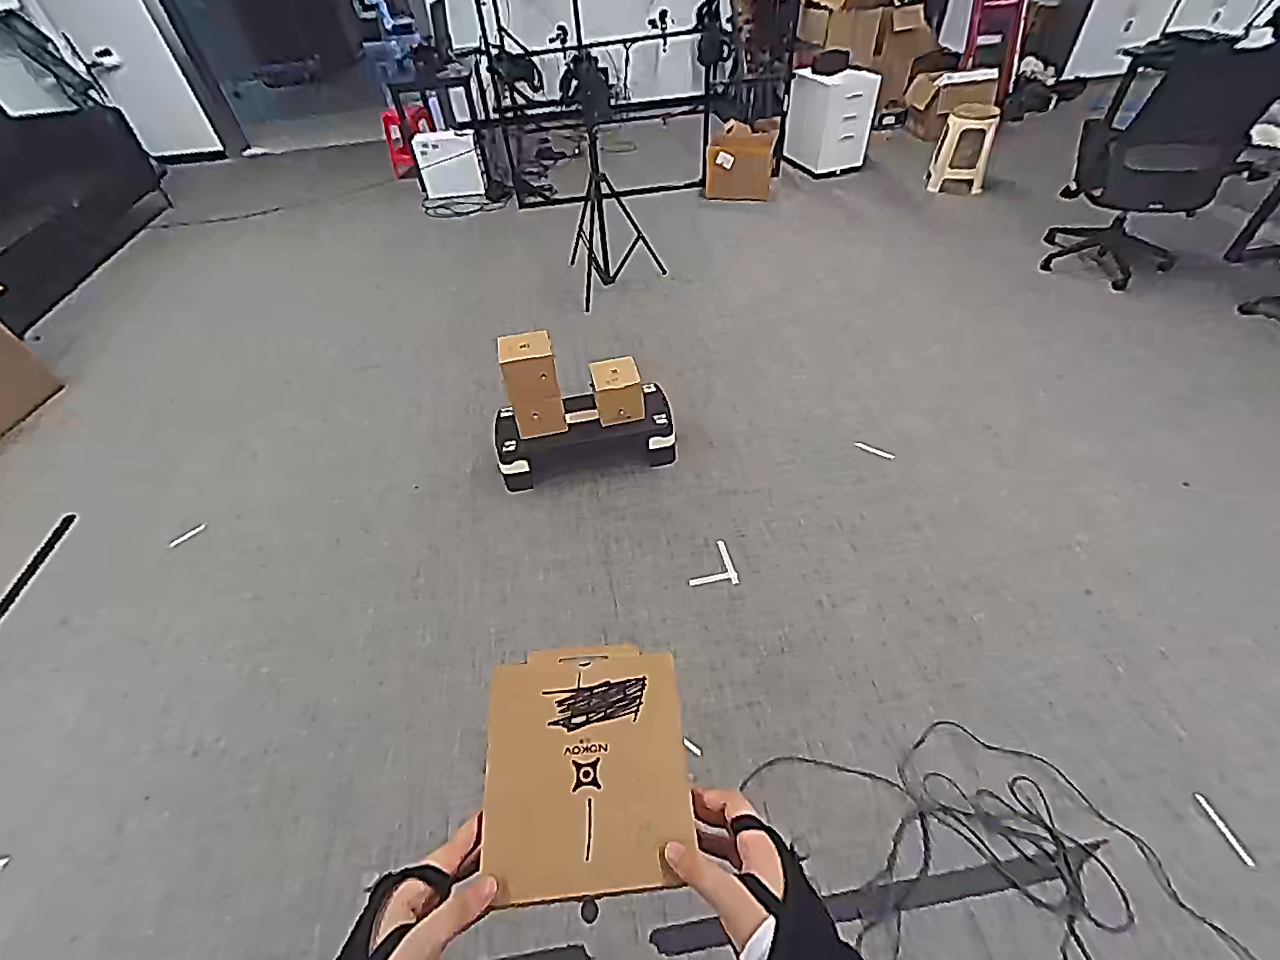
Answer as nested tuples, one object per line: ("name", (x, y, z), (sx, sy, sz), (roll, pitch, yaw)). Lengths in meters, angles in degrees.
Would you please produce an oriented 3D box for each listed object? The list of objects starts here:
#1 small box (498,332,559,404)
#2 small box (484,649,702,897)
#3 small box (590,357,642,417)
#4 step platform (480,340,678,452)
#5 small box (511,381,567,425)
("small box", (-0.380, -0.385, 1.867), (0.179, 0.176, 0.168), (-12, 46, -7))
("small box", (-0.044, 0.280, 0.514), (0.168, 0.176, 0.179), (-3, 53, -5))
("small box", (-0.087, -0.329, 2.012), (0.168, 0.176, 0.179), (-12, 47, -5))
("step platform", (-0.210, -0.303, 1.950), (0.684, 0.204, 0.286), (-10, 46, -5))
("small box", (-0.370, -0.274, 1.986), (0.179, 0.176, 0.168), (-12, 47, -6))
